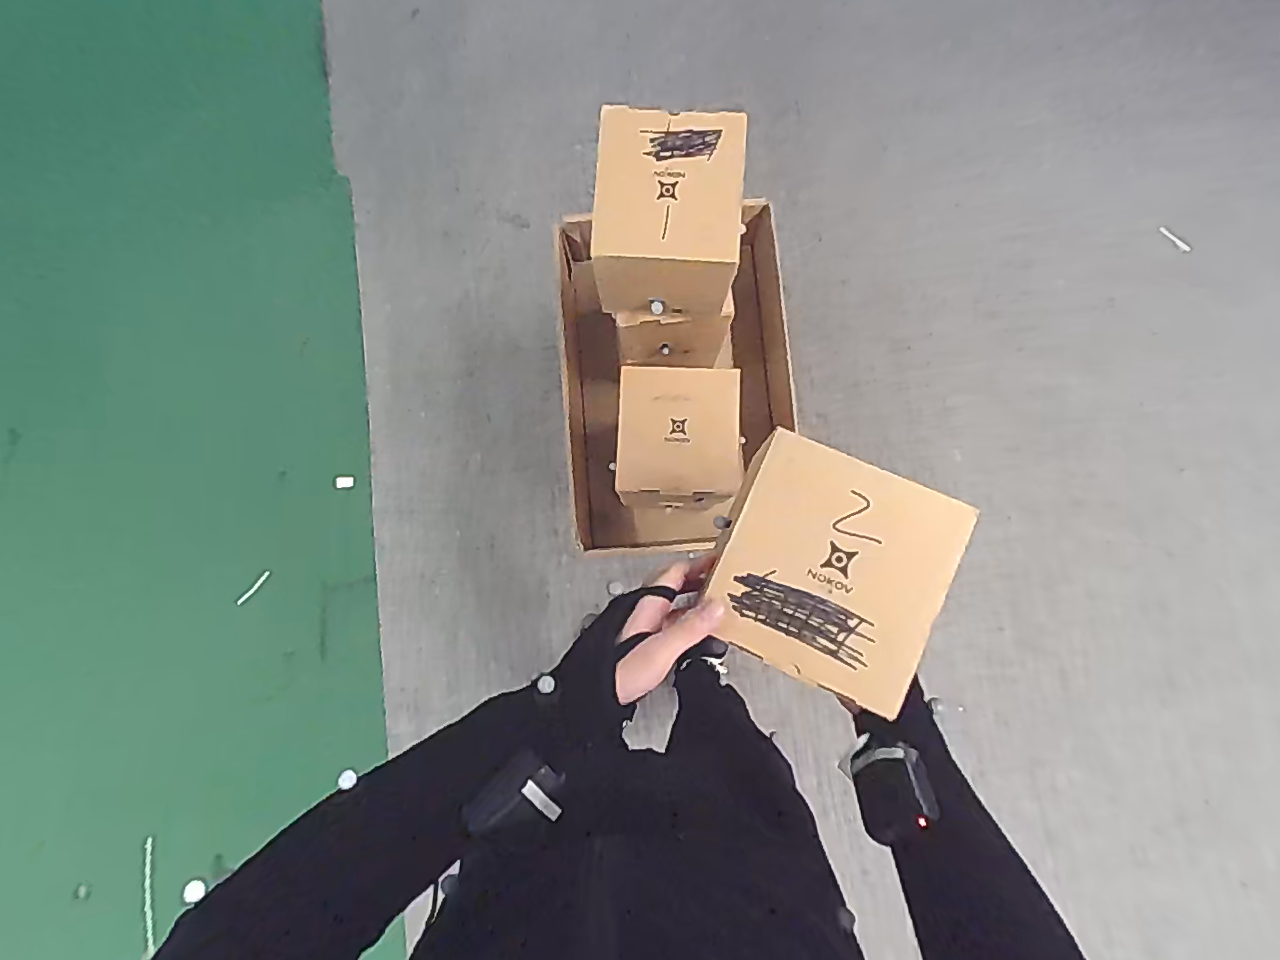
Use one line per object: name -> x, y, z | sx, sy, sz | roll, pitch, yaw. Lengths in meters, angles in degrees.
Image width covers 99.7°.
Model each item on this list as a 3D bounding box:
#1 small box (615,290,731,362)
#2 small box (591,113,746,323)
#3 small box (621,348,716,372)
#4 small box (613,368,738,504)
small box -> 0.041, -0.300, 0.846 | 0.168, 0.176, 0.179 | -6, 86, 0
small box -> 0.033, -0.318, 0.683 | 0.168, 0.176, 0.179 | 4, 86, 1
small box -> 0.045, -0.288, 1.008 | 0.168, 0.176, 0.179 | -5, 85, 1
small box -> 0.052, -0.057, 0.816 | 0.168, 0.176, 0.179 | 3, 83, 1
